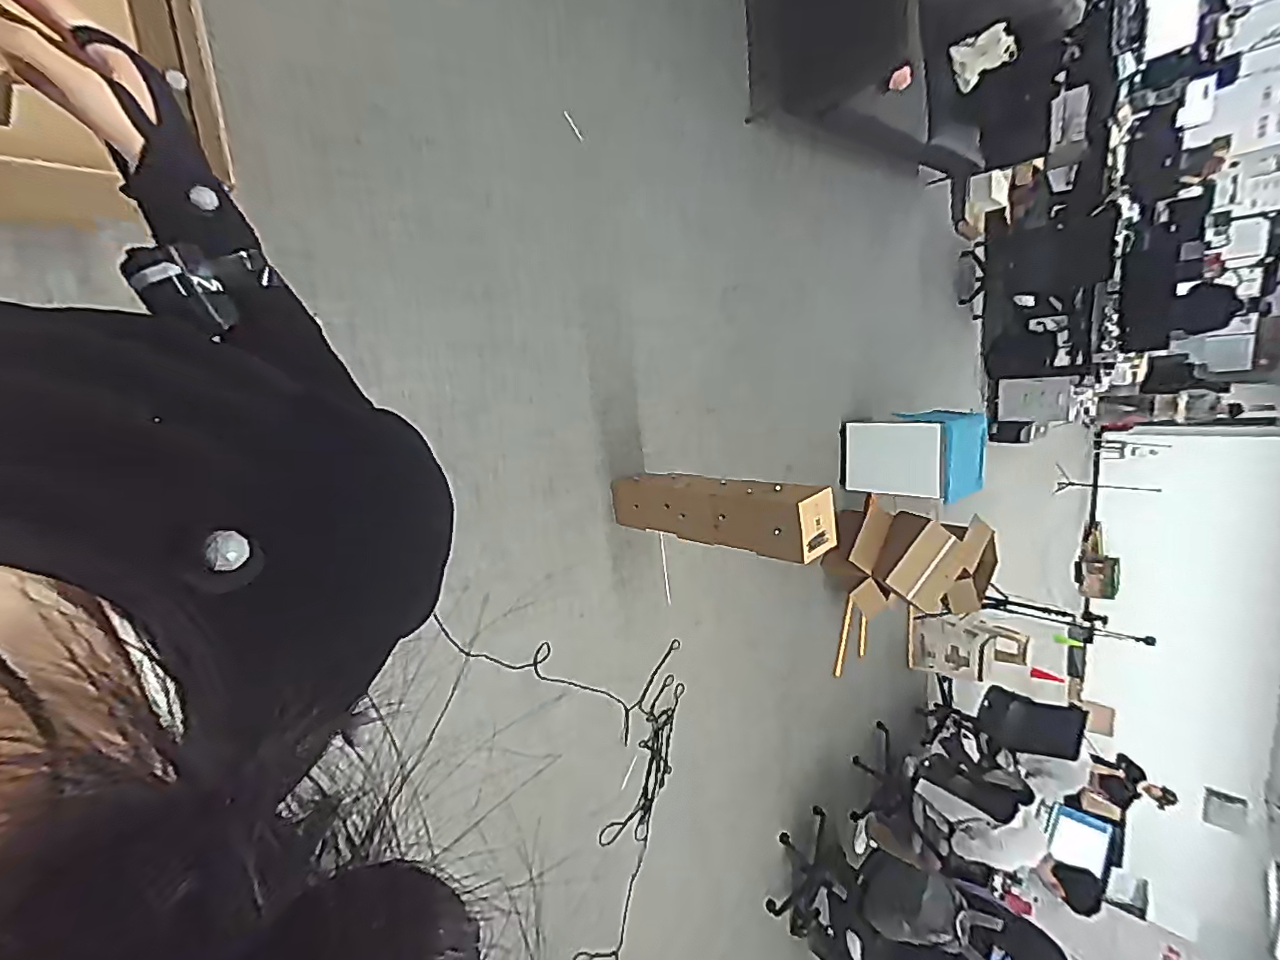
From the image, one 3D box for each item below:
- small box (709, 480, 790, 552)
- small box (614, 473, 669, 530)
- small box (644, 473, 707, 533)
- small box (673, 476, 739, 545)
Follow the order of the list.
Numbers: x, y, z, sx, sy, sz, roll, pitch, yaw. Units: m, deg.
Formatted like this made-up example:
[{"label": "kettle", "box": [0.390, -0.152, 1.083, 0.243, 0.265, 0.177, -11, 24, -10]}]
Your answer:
[{"label": "small box", "box": [0.333, 0.102, 1.649, 0.179, 0.176, 0.168, -18, 106, -39]}, {"label": "small box", "box": [0.019, 0.073, 2.023, 0.168, 0.176, 0.179, -17, 106, -40]}, {"label": "small box", "box": [0.128, 0.075, 1.901, 0.168, 0.176, 0.179, -16, 105, -39]}, {"label": "small box", "box": [0.227, 0.095, 1.772, 0.168, 0.176, 0.179, -19, 107, -40]}]
